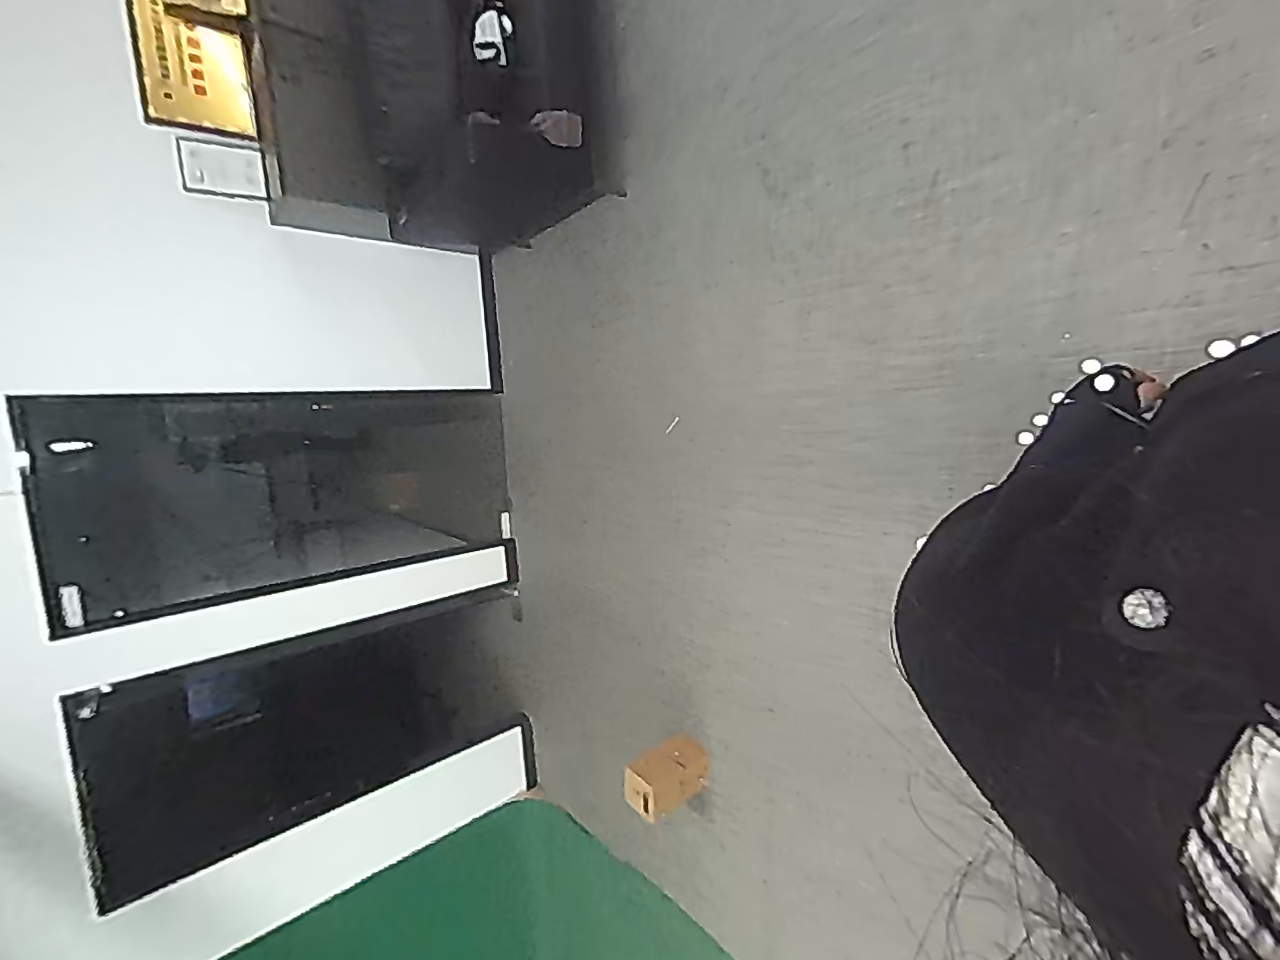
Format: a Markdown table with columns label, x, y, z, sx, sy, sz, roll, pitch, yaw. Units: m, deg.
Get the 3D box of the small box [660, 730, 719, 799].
| label | x | y | z | sx | sy | sz | roll | pitch | yaw |
| --- | --- | --- | --- | --- | --- | --- | --- | --- | --- |
| small box | 0.210 | 1.195 | 2.294 | 0.179 | 0.176 | 0.168 | 20 | 113 | 46 |
